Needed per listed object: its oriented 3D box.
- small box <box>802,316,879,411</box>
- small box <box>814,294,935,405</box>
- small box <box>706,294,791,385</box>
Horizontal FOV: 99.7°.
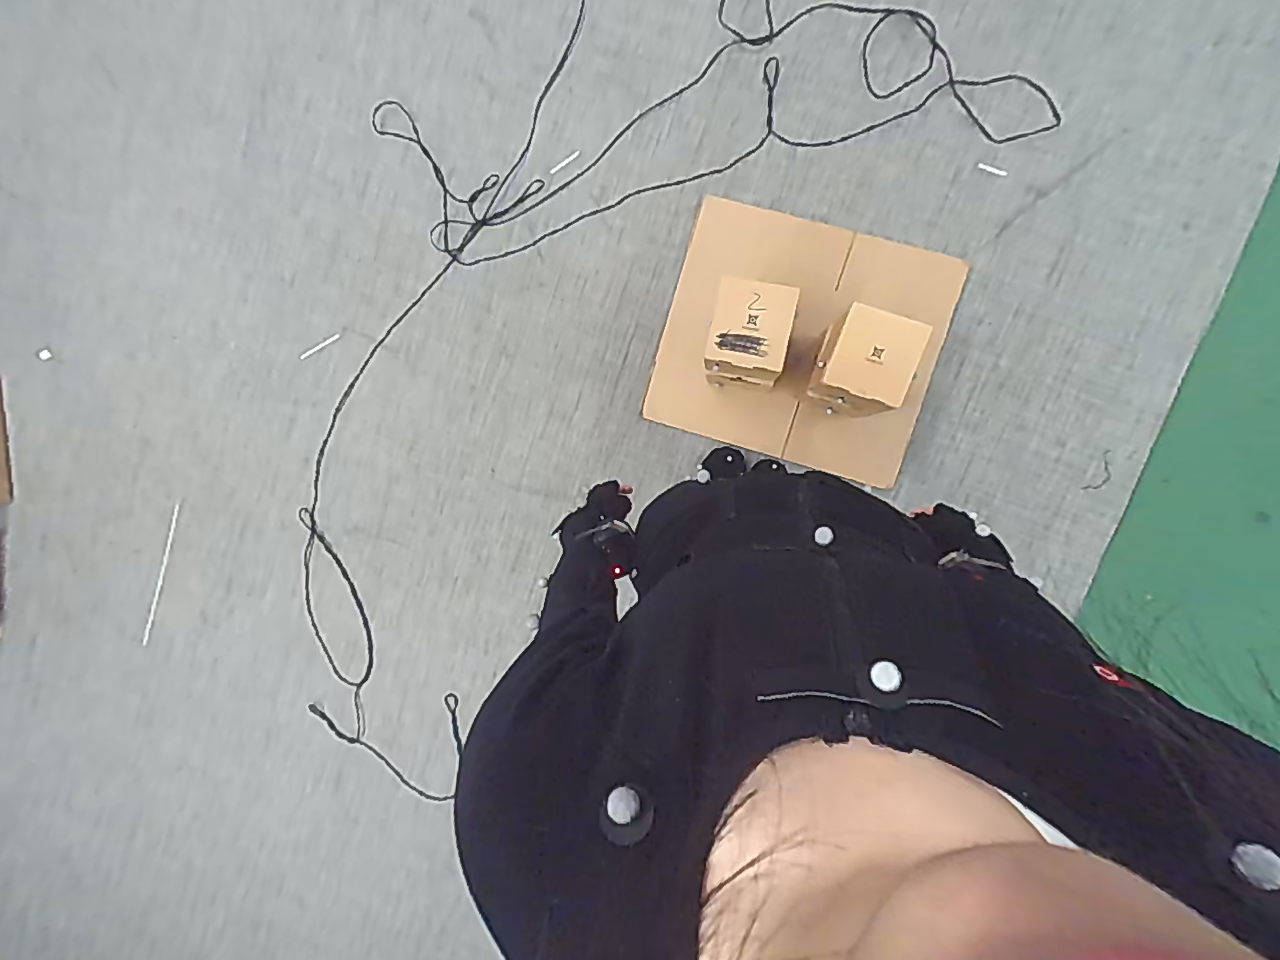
[{"bbox_3d":[0.508,-0.277,1.321,0.168,0.176,0.179,18,97,8],"label":"small box"},{"bbox_3d":[0.489,-0.270,1.160,0.168,0.176,0.179,20,97,6],"label":"small box"},{"bbox_3d":[0.267,-0.341,1.345,0.168,0.176,0.179,13,96,7],"label":"small box"}]
